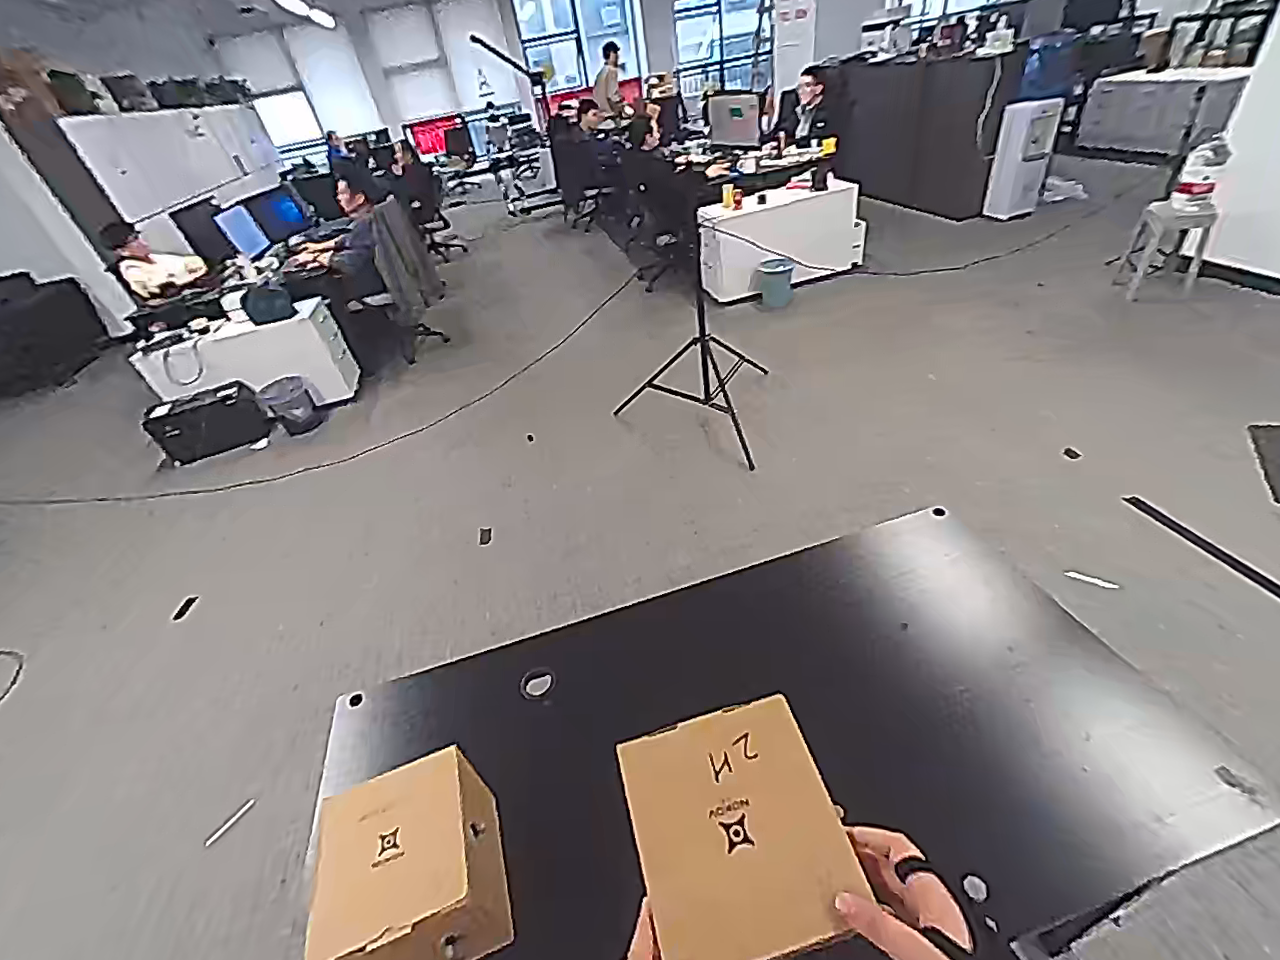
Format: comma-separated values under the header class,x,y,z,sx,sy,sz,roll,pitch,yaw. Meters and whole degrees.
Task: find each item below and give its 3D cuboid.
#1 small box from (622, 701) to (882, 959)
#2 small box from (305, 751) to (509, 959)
class,x,y,z,sx,sy,sz,roll,pitch,yaw
small box,0.091,0.340,0.501,0.168,0.176,0.179,-15,45,-5
small box,-0.268,0.476,0.652,0.168,0.176,0.179,-19,37,-12
